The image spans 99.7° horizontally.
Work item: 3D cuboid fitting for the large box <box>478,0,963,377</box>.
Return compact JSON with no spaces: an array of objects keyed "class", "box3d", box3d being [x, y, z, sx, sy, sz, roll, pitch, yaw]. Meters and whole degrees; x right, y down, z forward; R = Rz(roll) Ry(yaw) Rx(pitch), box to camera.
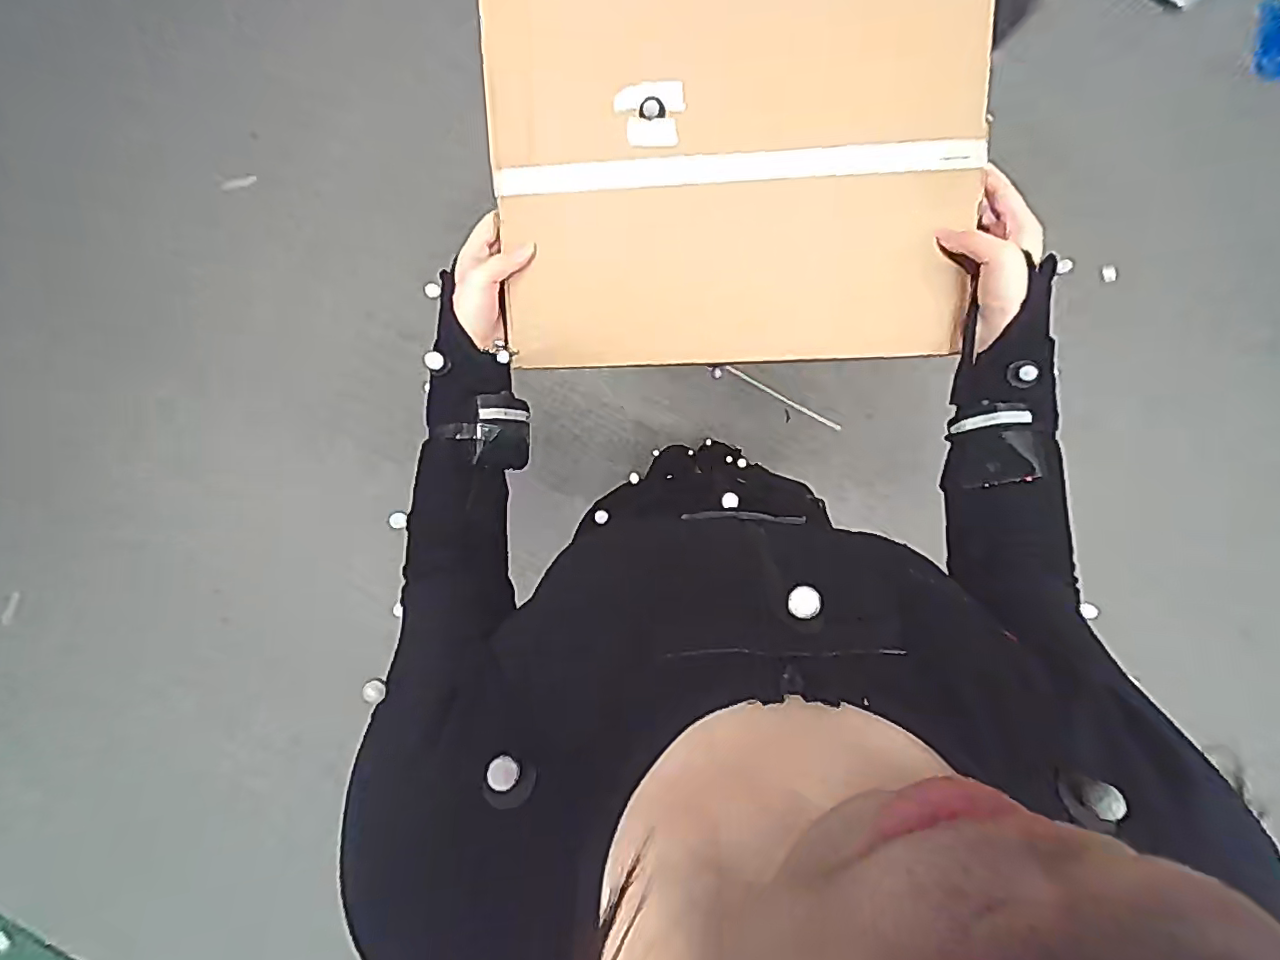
[{"class":"large box","box3d":[0.081,-0.291,0.615,0.408,0.320,0.320,-2,101,5]}]
